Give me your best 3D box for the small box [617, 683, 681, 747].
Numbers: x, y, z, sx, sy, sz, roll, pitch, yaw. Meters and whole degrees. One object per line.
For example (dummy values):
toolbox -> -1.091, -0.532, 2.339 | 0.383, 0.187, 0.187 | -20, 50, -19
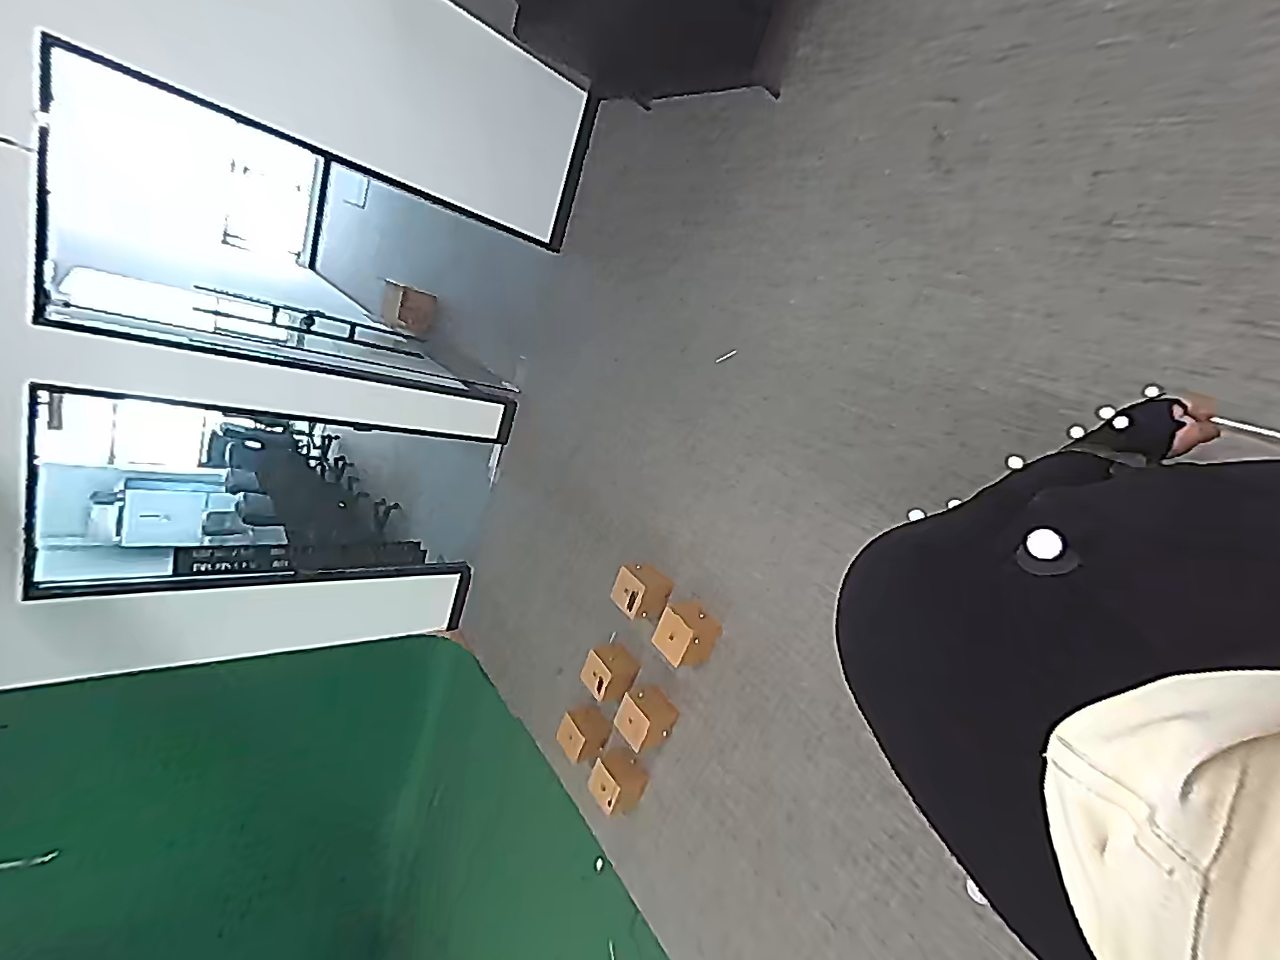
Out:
small box -> 0.037, 0.976, 2.262 | 0.179, 0.176, 0.168 | 37, 114, 43

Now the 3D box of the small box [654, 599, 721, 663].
small box -> 0.190, 0.591, 2.130 | 0.168, 0.176, 0.179 | 38, 113, 43

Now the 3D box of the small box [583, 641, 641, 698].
small box -> -0.125, 0.853, 2.451 | 0.179, 0.176, 0.168 | 38, 114, 44

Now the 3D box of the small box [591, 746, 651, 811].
small box -> -0.083, 1.297, 2.365 | 0.179, 0.176, 0.168 | 36, 114, 45
